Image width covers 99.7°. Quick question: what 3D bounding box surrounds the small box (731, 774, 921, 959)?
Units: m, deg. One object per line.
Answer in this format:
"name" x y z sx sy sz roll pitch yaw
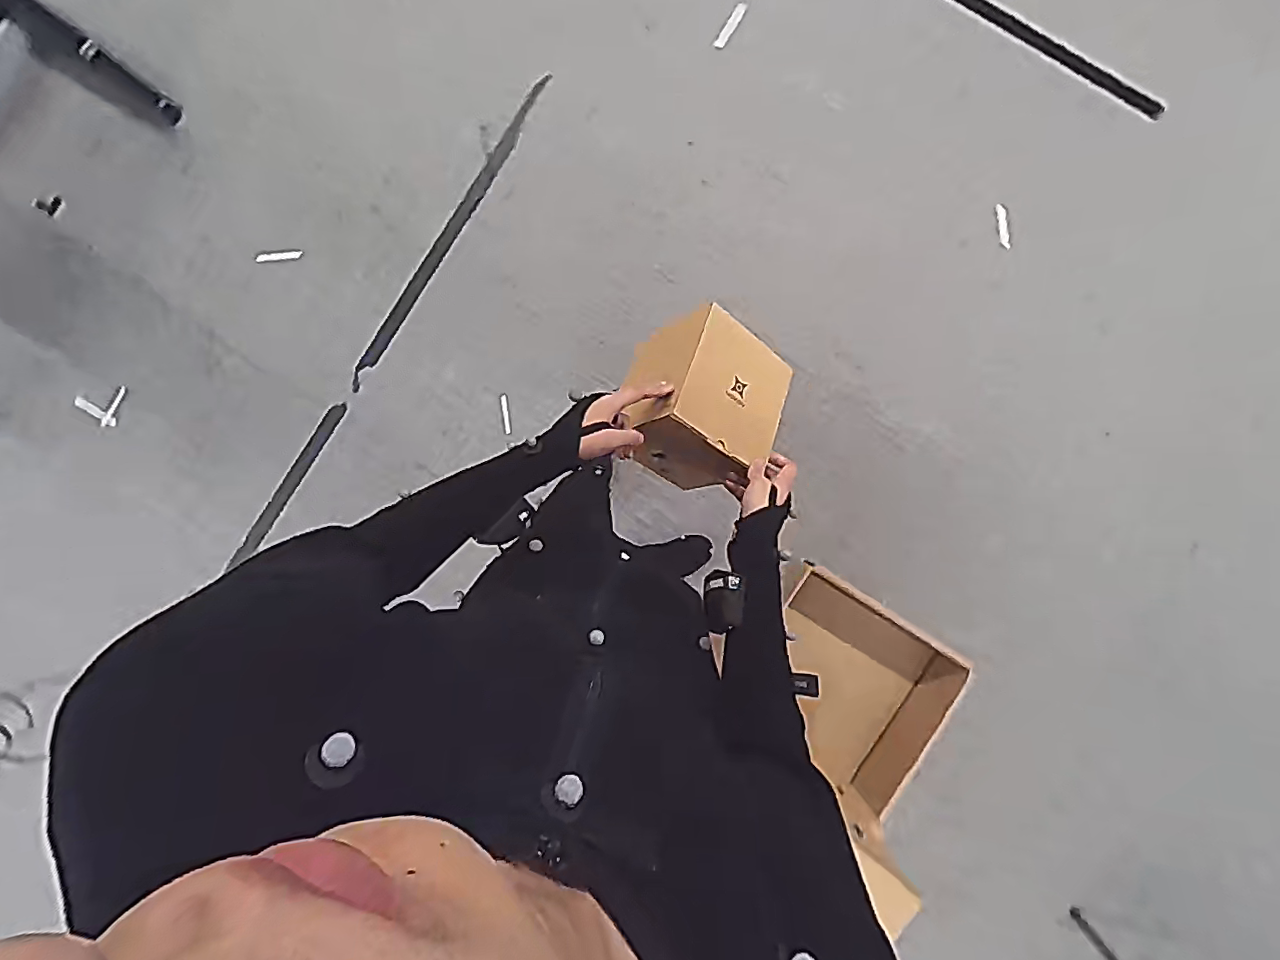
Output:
"small box" 0.257 0.573 0.796 0.179 0.176 0.168 40 87 1

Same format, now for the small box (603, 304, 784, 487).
"small box" 0.071 -0.106 0.762 0.168 0.176 0.179 30 67 -28

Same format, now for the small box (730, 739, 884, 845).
"small box" 0.284 0.599 0.960 0.179 0.176 0.168 35 87 2
